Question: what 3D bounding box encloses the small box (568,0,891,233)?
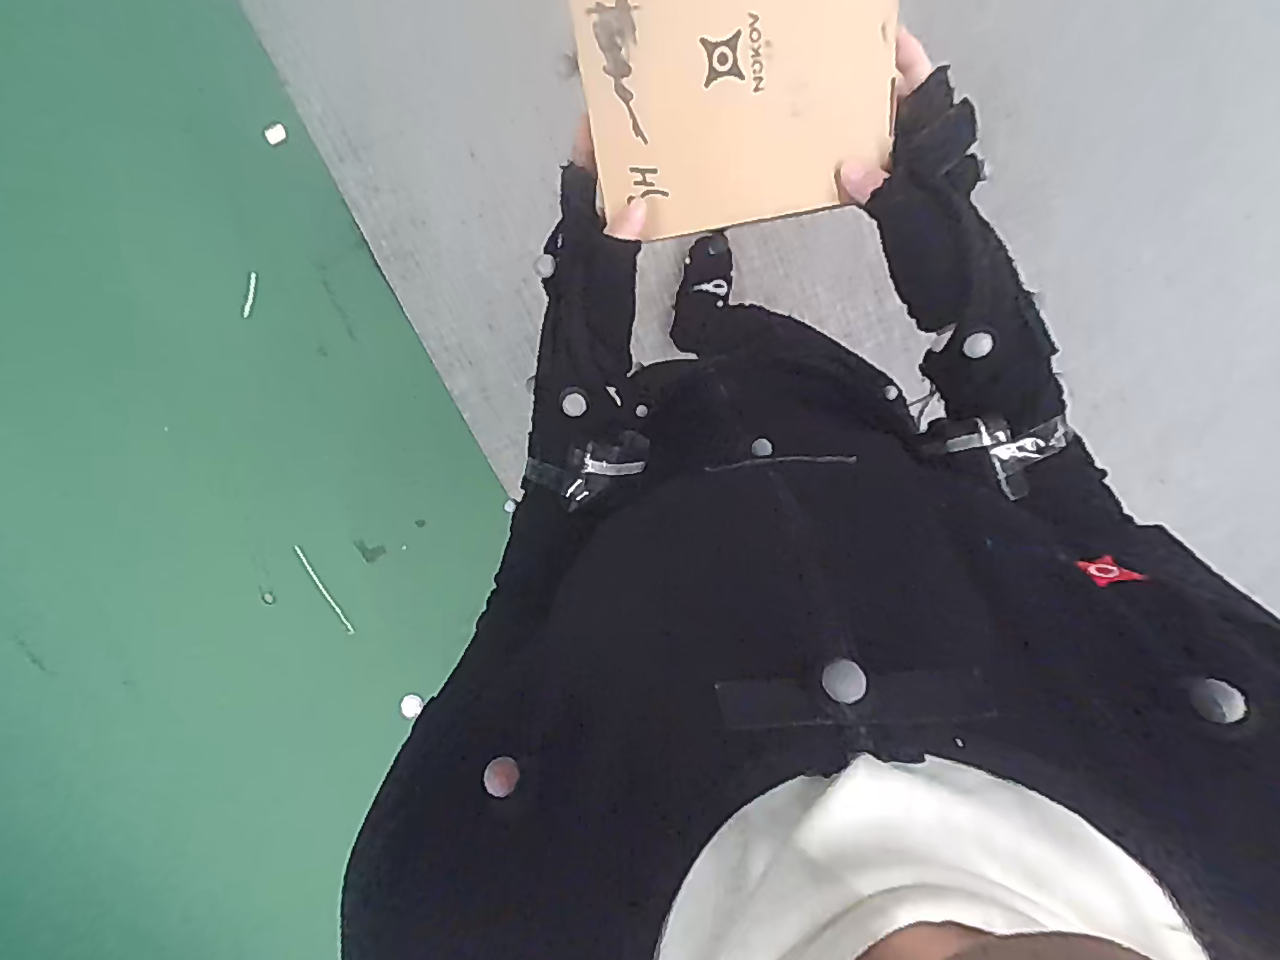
[{"bbox_3d":[0.048,-0.271,0.370,0.179,0.176,0.168,-9,113,1],"label":"small box"}]
